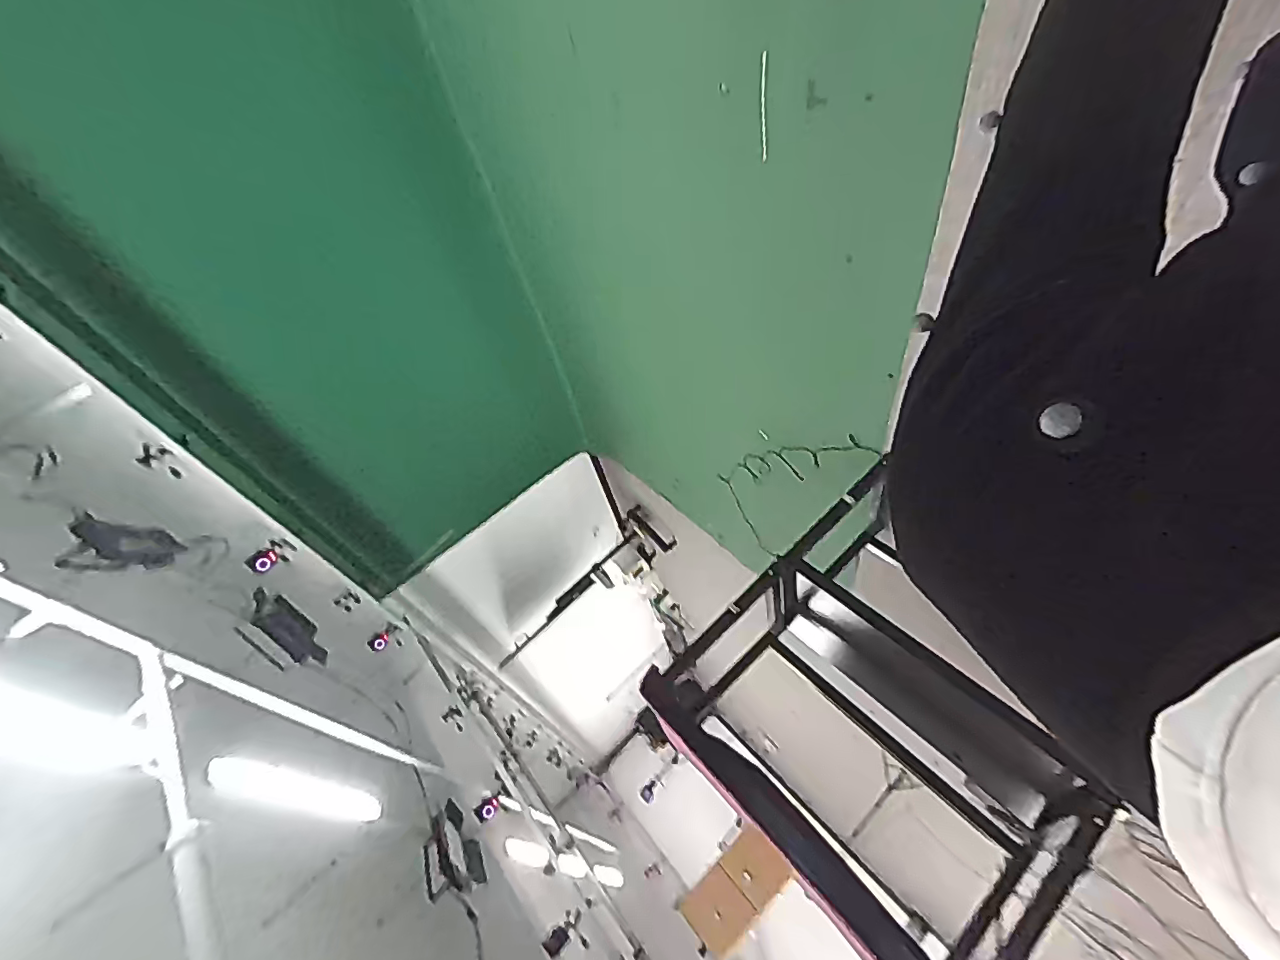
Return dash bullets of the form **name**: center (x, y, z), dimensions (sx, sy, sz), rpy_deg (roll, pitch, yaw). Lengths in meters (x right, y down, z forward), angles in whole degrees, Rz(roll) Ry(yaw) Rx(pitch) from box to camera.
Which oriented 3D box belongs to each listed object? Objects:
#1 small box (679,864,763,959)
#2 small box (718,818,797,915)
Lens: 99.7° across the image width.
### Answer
- **small box**: center (0.245, 1.283, 1.612), dimensions (0.179, 0.176, 0.168), rpy_deg (36, 157, 37)
- **small box**: center (0.366, 1.184, 1.660), dimensions (0.179, 0.176, 0.168), rpy_deg (37, 158, 37)
